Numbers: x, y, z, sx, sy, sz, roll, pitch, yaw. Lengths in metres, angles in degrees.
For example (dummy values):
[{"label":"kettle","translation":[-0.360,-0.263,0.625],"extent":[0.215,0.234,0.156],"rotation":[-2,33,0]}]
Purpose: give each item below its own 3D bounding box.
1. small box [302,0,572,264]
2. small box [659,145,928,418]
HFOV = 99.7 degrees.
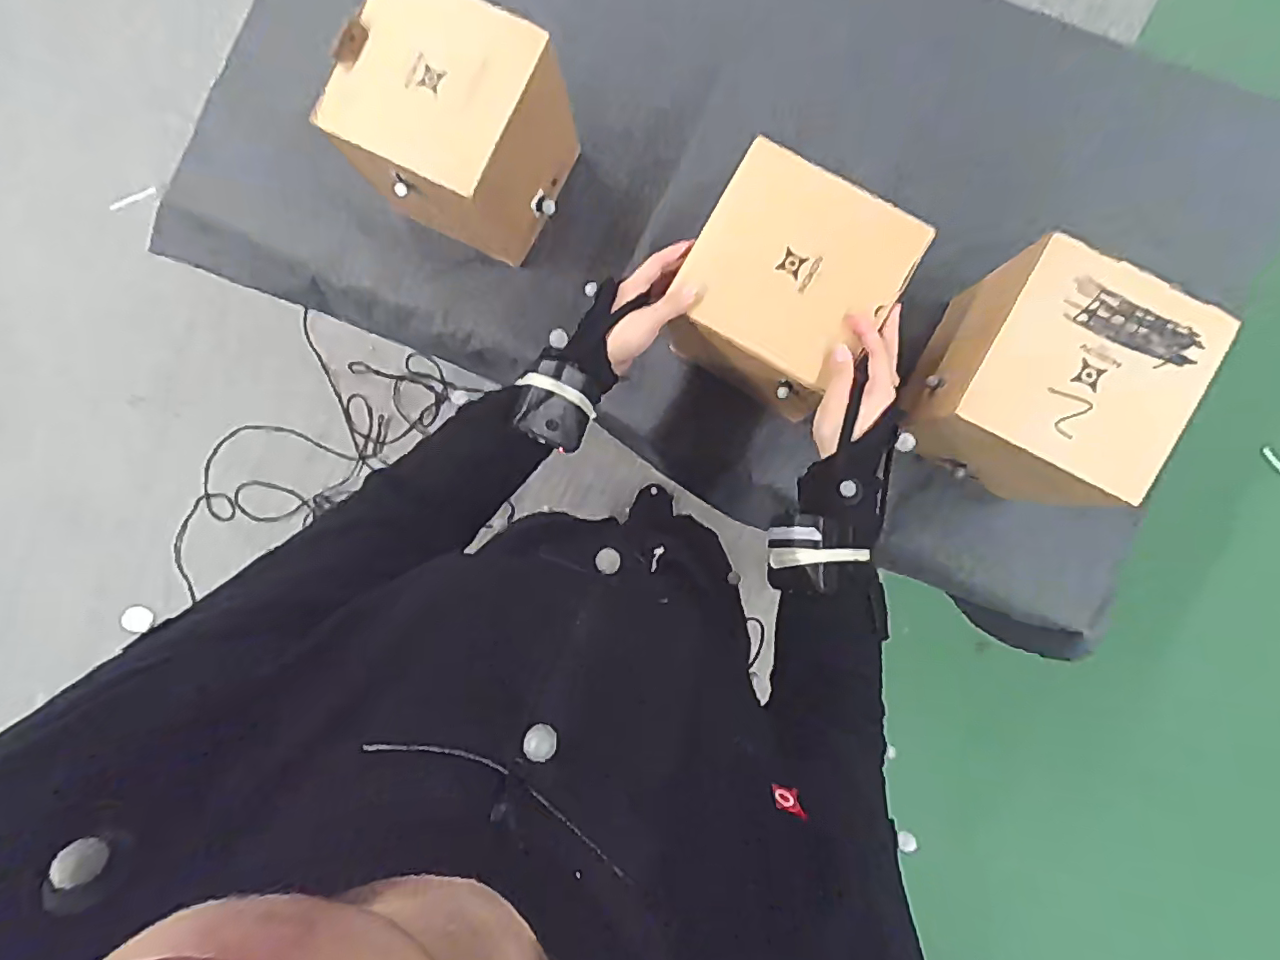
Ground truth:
[{"label":"small box","translation":[-0.192,-0.357,0.566],"extent":[0.179,0.176,0.168],"rotation":[26,91,3]},{"label":"small box","translation":[0.134,-0.176,0.541],"extent":[0.179,0.176,0.168],"rotation":[31,91,3]}]
